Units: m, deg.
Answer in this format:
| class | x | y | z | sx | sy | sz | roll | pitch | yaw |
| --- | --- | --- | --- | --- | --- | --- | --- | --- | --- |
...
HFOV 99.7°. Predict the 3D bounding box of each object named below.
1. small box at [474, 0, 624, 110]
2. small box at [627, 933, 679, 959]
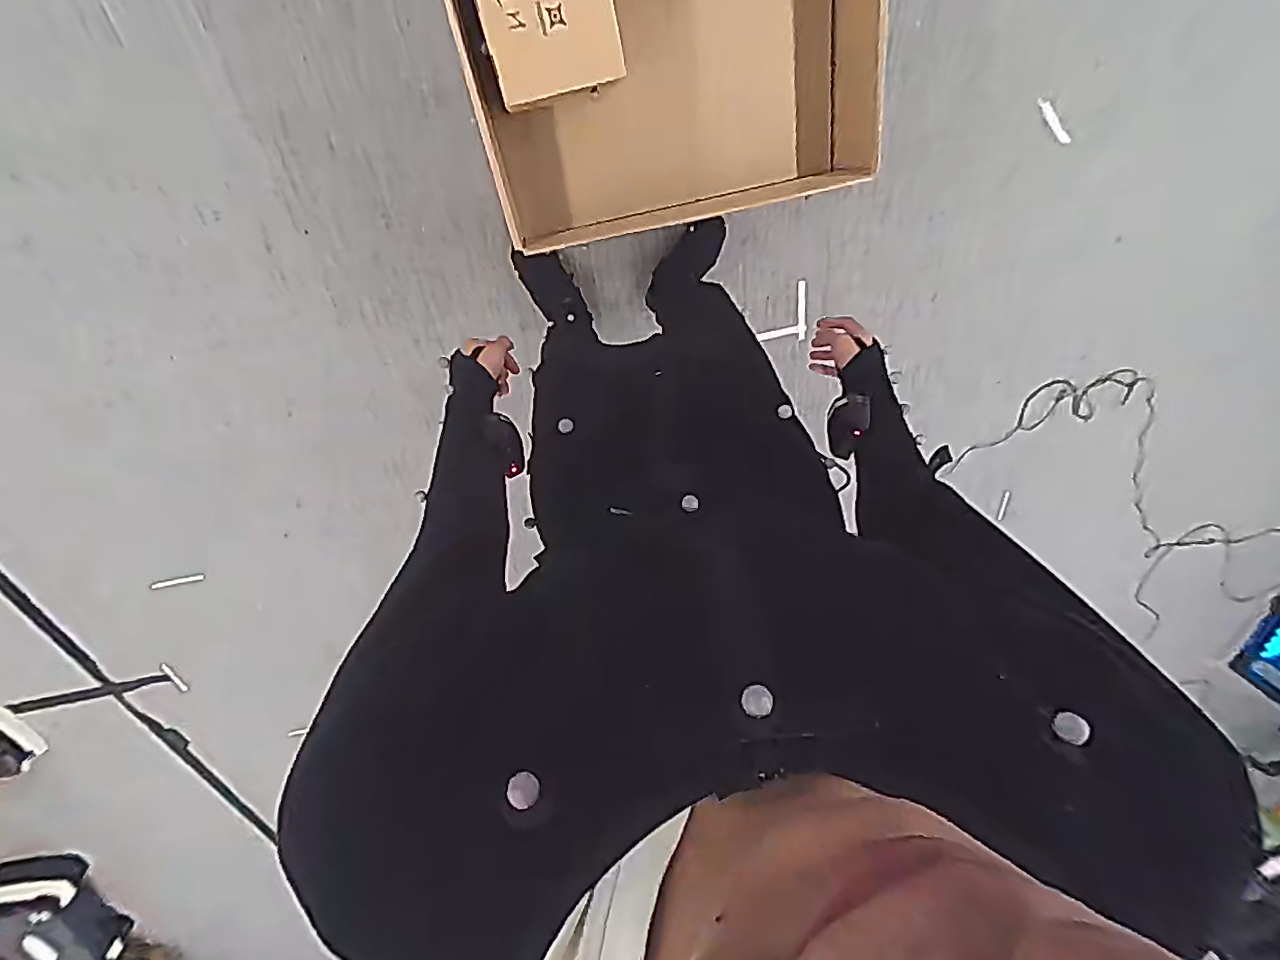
| class | x | y | z | sx | sy | sz | roll | pitch | yaw |
| --- | --- | --- | --- | --- | --- | --- | --- | --- | --- |
| small box | -0.134 | -0.644 | 0.768 | 0.179 | 0.176 | 0.168 | -15 | 122 | -2 |
| small box | 0.060 | 1.762 | 1.928 | 0.179 | 0.176 | 0.168 | -11 | 123 | -7 |
